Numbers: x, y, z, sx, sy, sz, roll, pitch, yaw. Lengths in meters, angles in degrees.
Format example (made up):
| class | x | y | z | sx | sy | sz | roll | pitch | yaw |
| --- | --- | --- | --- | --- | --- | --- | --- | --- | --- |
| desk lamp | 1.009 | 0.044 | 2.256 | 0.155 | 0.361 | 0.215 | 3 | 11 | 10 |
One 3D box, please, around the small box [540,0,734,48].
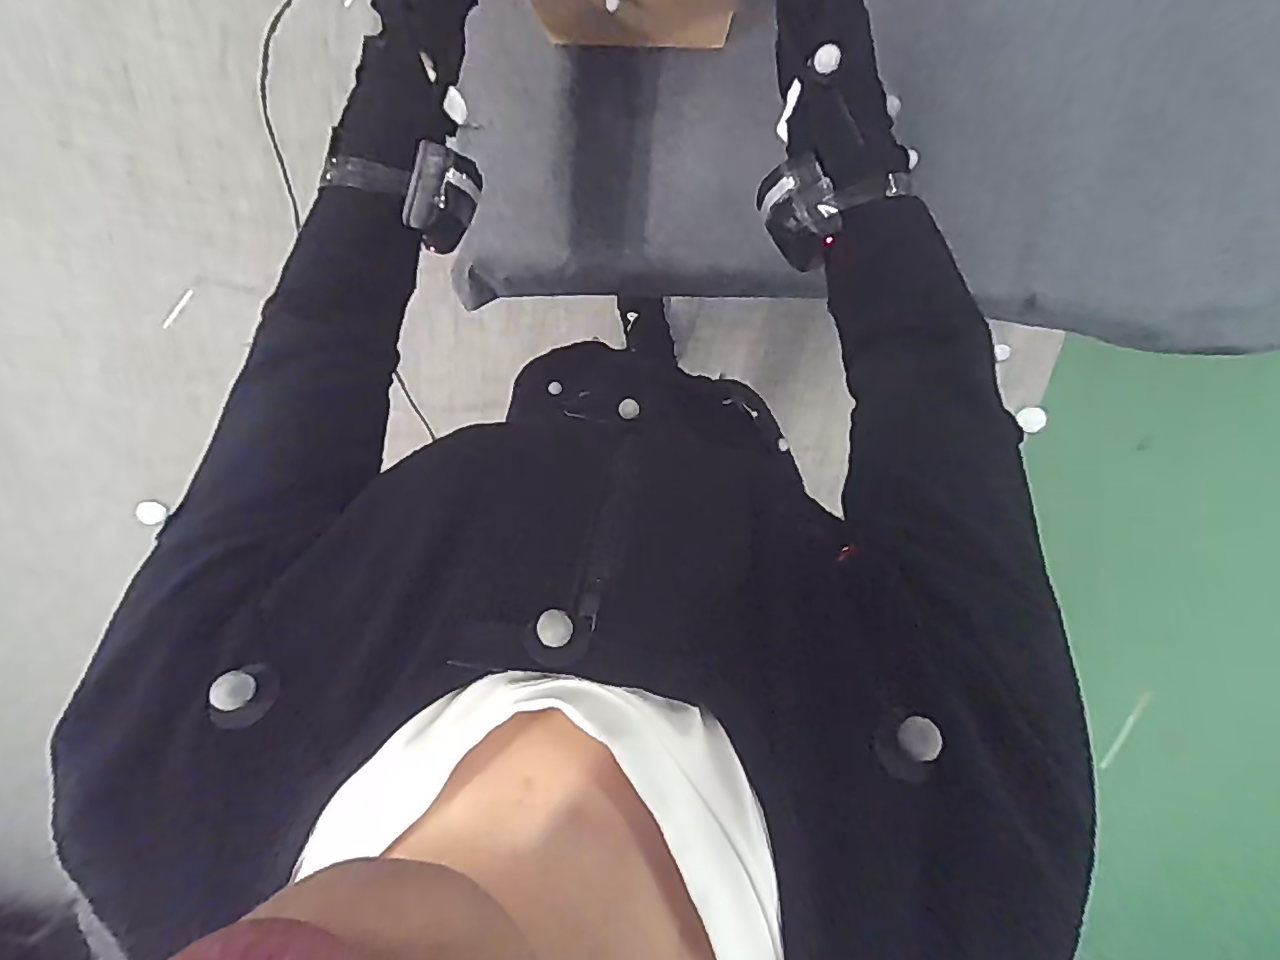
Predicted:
| class | x | y | z | sx | sy | sz | roll | pitch | yaw |
| --- | --- | --- | --- | --- | --- | --- | --- | --- | --- |
| small box | -0.002 | -0.478 | 0.437 | 0.179 | 0.176 | 0.168 | 3 | 113 | 1 |
